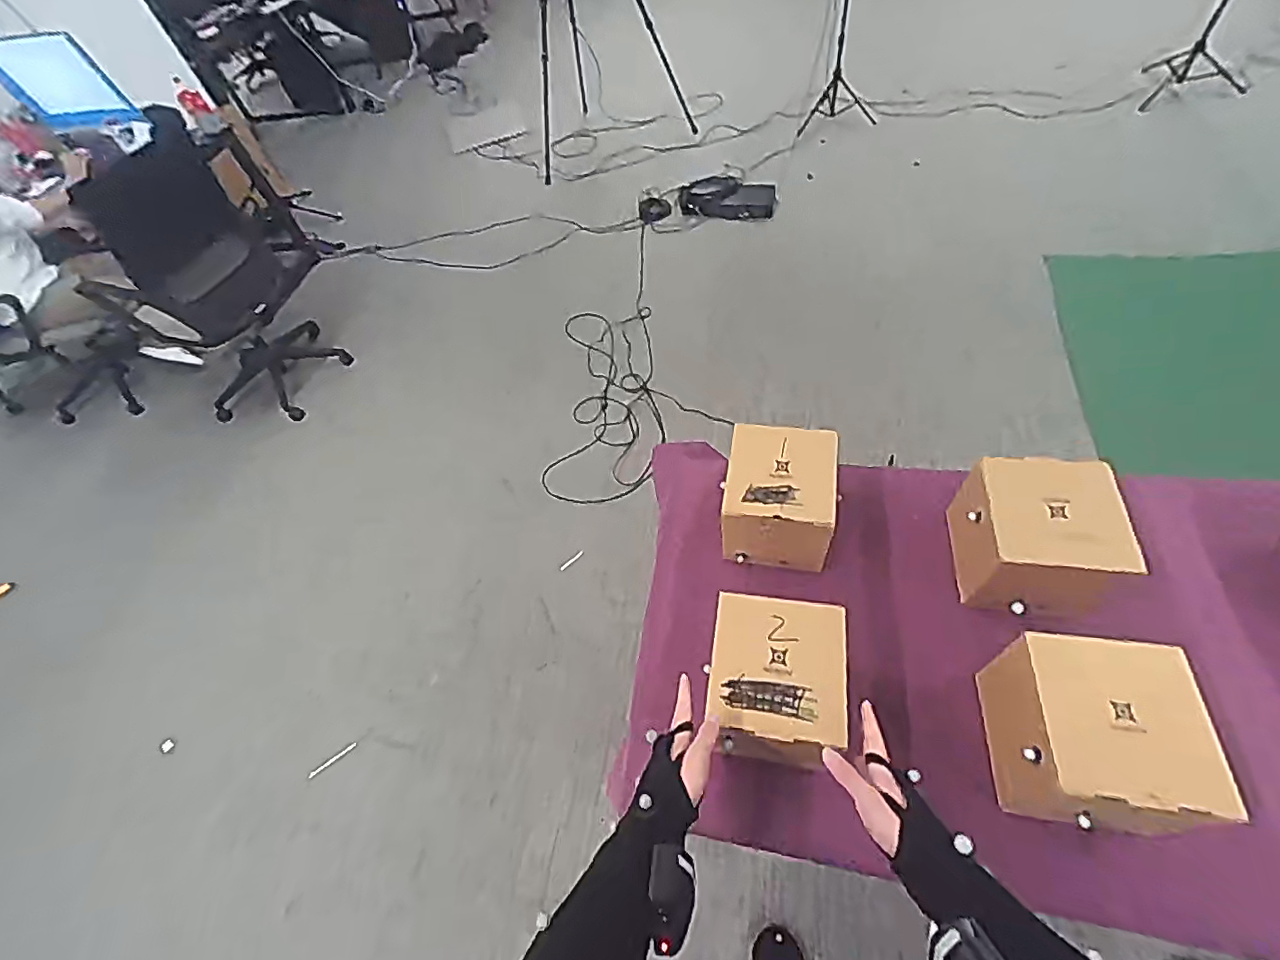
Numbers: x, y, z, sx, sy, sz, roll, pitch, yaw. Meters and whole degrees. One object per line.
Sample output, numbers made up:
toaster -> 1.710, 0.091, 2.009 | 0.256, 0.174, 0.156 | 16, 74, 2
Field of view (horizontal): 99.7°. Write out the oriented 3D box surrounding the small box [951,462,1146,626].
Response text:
small box -> 0.583, 0.096, 0.804 | 0.168, 0.176, 0.179 | 4, 56, 14

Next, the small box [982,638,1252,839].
small box -> 0.542, 0.314, 0.654 | 0.168, 0.176, 0.179 | 4, 55, 12

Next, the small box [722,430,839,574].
small box -> 0.233, 0.040, 0.903 | 0.168, 0.176, 0.179 | 6, 57, 14
